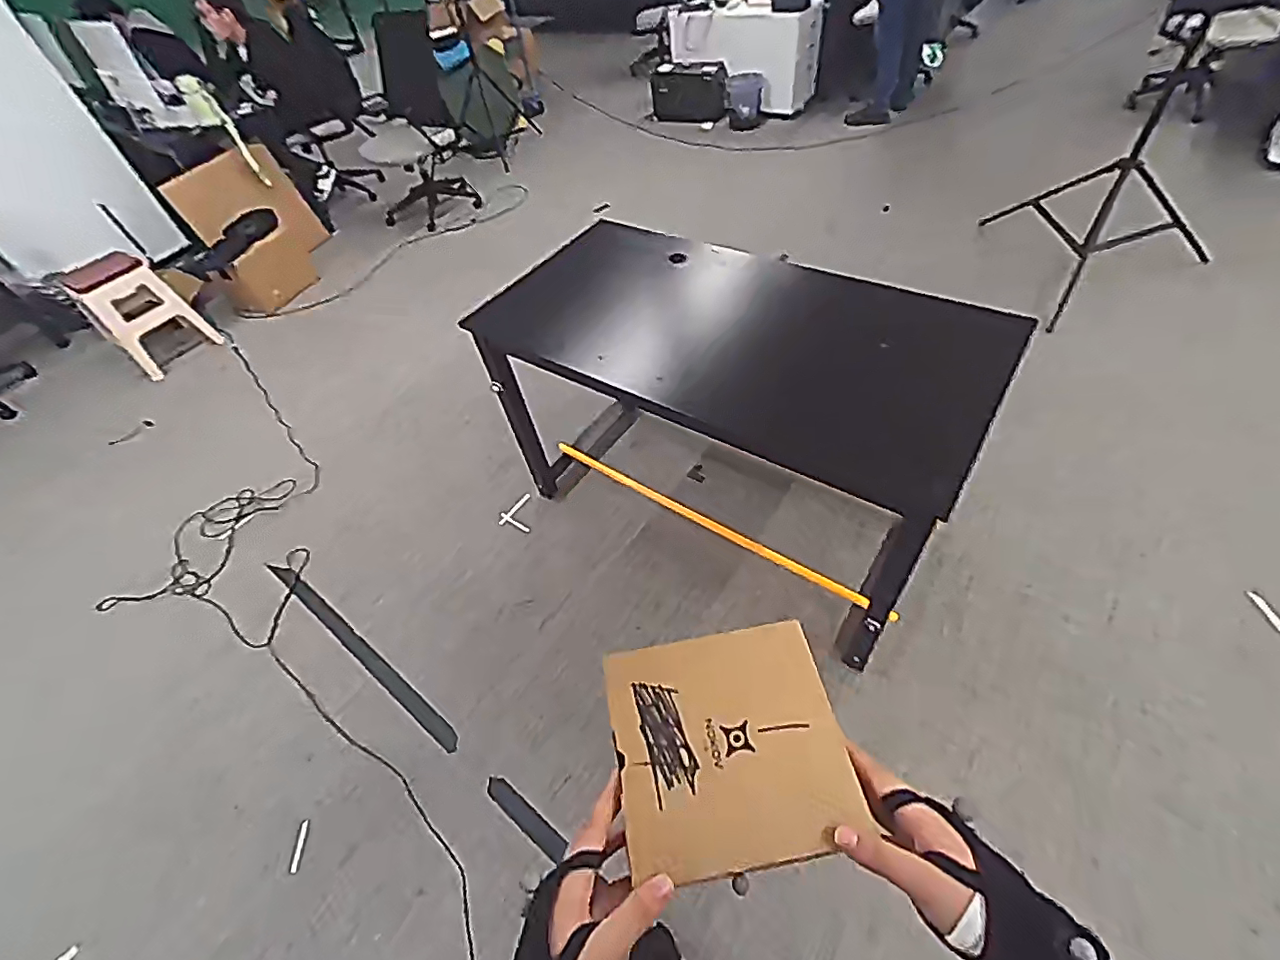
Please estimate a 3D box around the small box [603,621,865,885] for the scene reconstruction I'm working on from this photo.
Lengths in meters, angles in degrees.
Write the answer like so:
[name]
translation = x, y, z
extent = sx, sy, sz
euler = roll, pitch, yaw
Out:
[small box]
translation = 0.072, 0.253, 0.492
extent = 0.179, 0.176, 0.168
euler = -11, 52, -2
